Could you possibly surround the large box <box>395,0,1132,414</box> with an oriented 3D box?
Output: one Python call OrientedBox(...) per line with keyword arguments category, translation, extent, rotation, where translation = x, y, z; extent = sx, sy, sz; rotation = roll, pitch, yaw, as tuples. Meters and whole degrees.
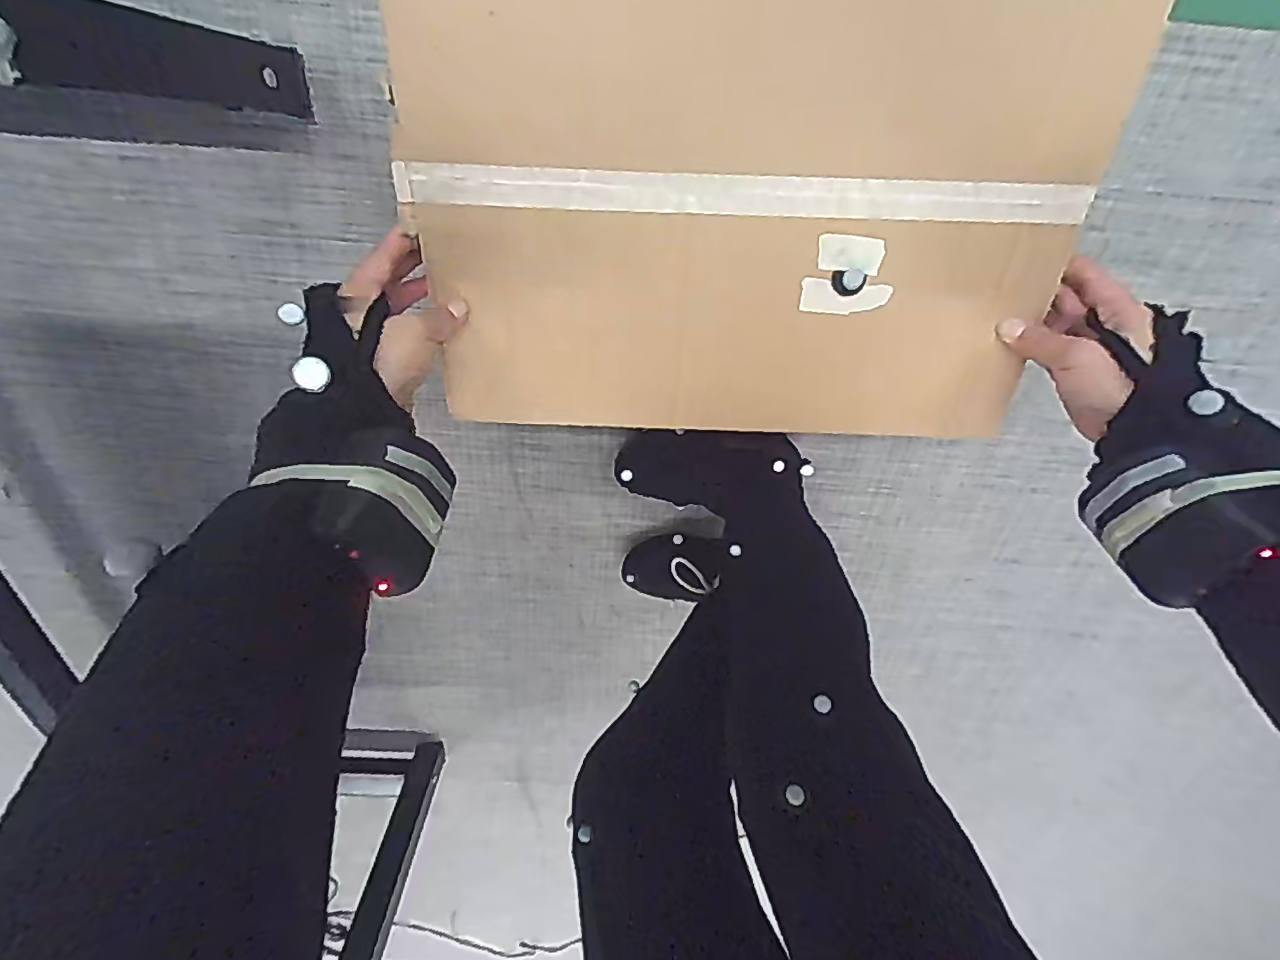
OrientedBox(category="large box", translation=(0.063, -0.259, 0.463), extent=(0.408, 0.320, 0.320), rotation=(0, 122, -1))
